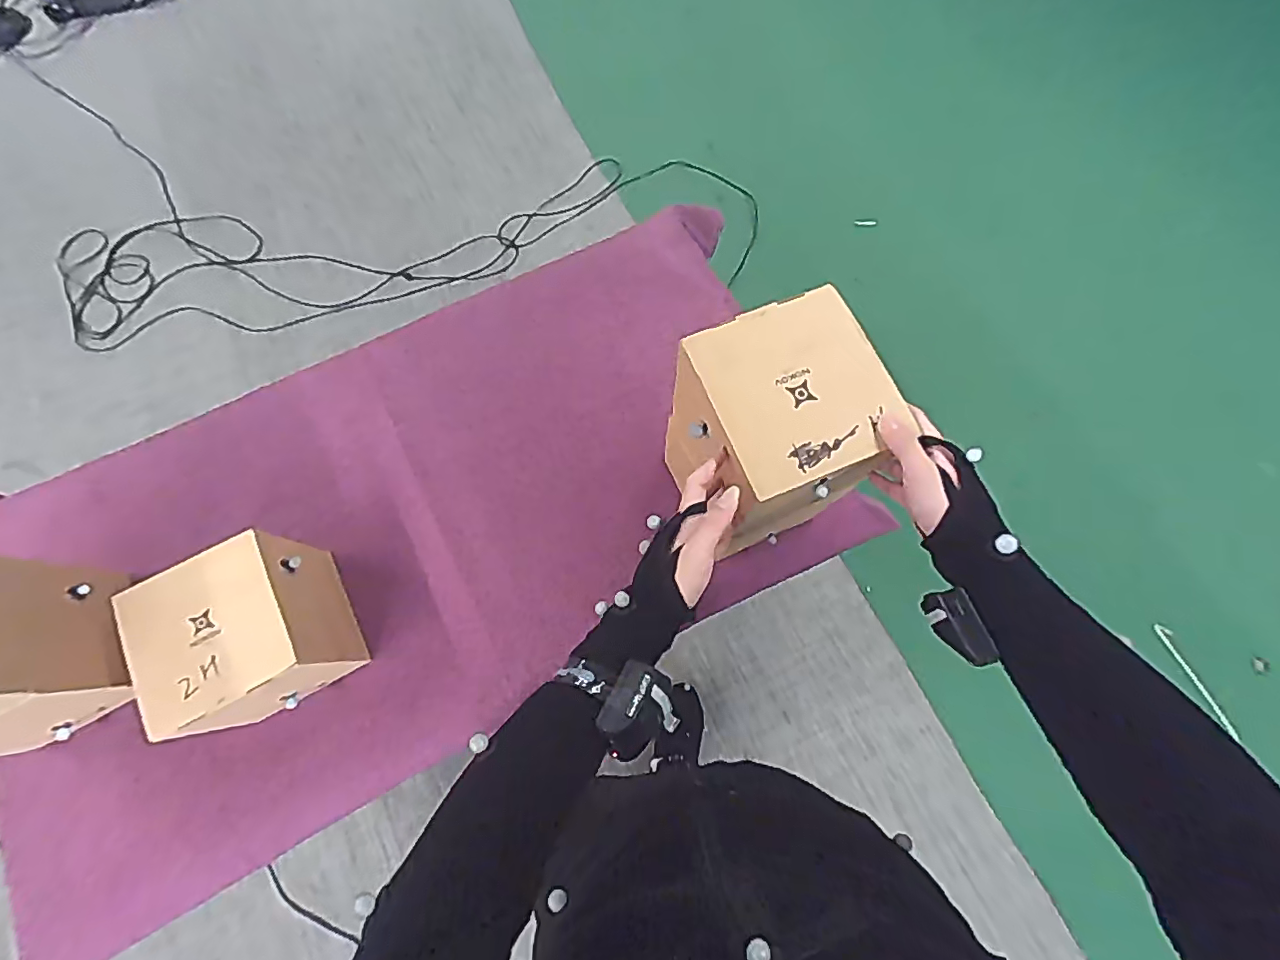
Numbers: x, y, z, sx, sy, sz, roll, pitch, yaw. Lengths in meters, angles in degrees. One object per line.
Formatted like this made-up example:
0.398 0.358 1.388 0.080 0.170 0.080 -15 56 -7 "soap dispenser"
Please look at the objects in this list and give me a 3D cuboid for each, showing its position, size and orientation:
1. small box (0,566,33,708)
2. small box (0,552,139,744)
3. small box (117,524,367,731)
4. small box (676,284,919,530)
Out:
-0.760 0.166 0.514 0.168 0.176 0.179 -29 76 -7 "small box"
-0.759 0.213 0.670 0.168 0.176 0.179 -29 76 -7 "small box"
-0.481 0.182 0.677 0.168 0.176 0.179 -27 76 -7 "small box"
0.144 -0.066 0.574 0.168 0.176 0.179 -22 75 -5 "small box"
